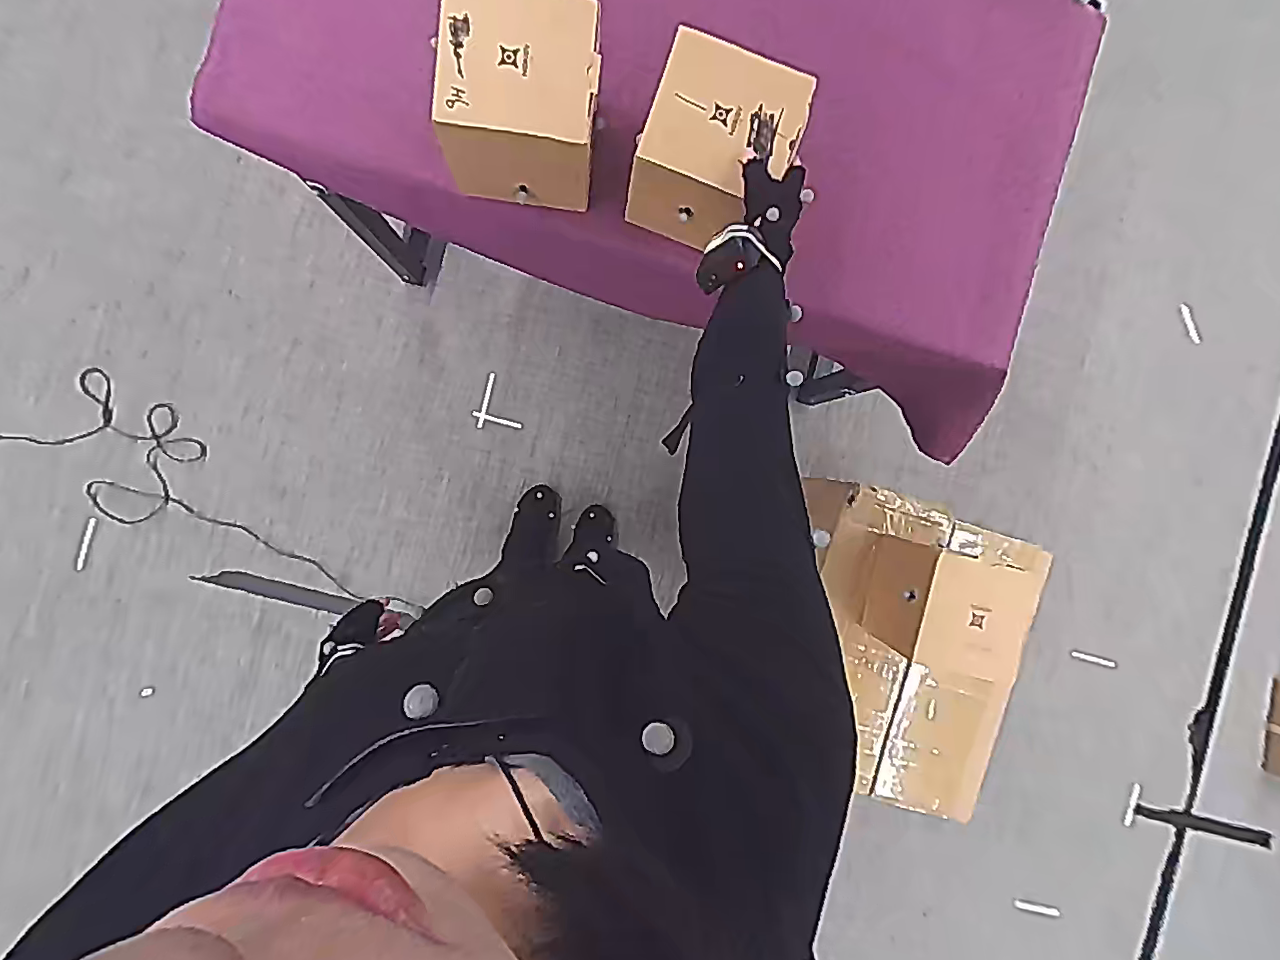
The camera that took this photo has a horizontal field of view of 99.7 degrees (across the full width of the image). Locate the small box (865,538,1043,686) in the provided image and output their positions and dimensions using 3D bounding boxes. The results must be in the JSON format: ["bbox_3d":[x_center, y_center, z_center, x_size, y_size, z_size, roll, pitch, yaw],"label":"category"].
[{"bbox_3d":[0.490,0.199,0.868,0.168,0.176,0.179,14,91,-3],"label":"small box"}]

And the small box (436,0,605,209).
[{"bbox_3d":[-0.144,-0.471,0.687,0.179,0.176,0.168,5,90,-7],"label":"small box"}]

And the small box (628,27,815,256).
[{"bbox_3d":[0.095,-0.422,0.712,0.179,0.176,0.168,20,88,-5],"label":"small box"}]
